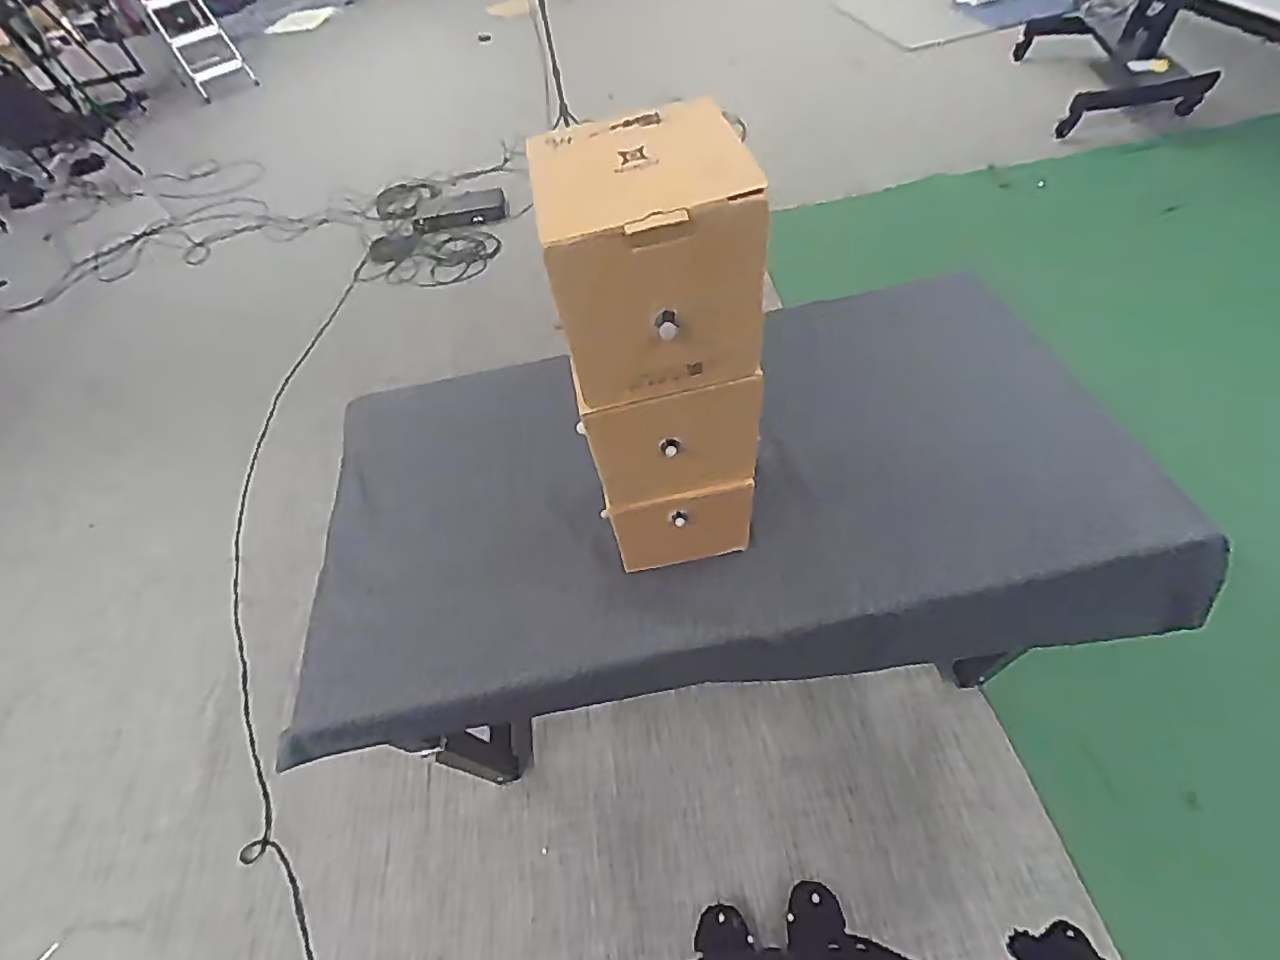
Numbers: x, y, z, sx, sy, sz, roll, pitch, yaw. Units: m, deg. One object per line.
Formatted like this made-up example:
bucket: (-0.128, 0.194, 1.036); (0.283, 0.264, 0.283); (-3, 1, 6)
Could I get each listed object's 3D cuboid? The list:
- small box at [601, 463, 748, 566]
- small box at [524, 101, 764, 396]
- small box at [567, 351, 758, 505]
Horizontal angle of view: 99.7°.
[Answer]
small box: (0.039, 0.002, 0.743); (0.179, 0.176, 0.168); (-10, 56, -1)
small box: (0.004, -0.193, 0.483); (0.168, 0.176, 0.179); (-12, 56, 0)
small box: (0.021, -0.094, 0.611); (0.179, 0.176, 0.168); (-13, 55, 0)
